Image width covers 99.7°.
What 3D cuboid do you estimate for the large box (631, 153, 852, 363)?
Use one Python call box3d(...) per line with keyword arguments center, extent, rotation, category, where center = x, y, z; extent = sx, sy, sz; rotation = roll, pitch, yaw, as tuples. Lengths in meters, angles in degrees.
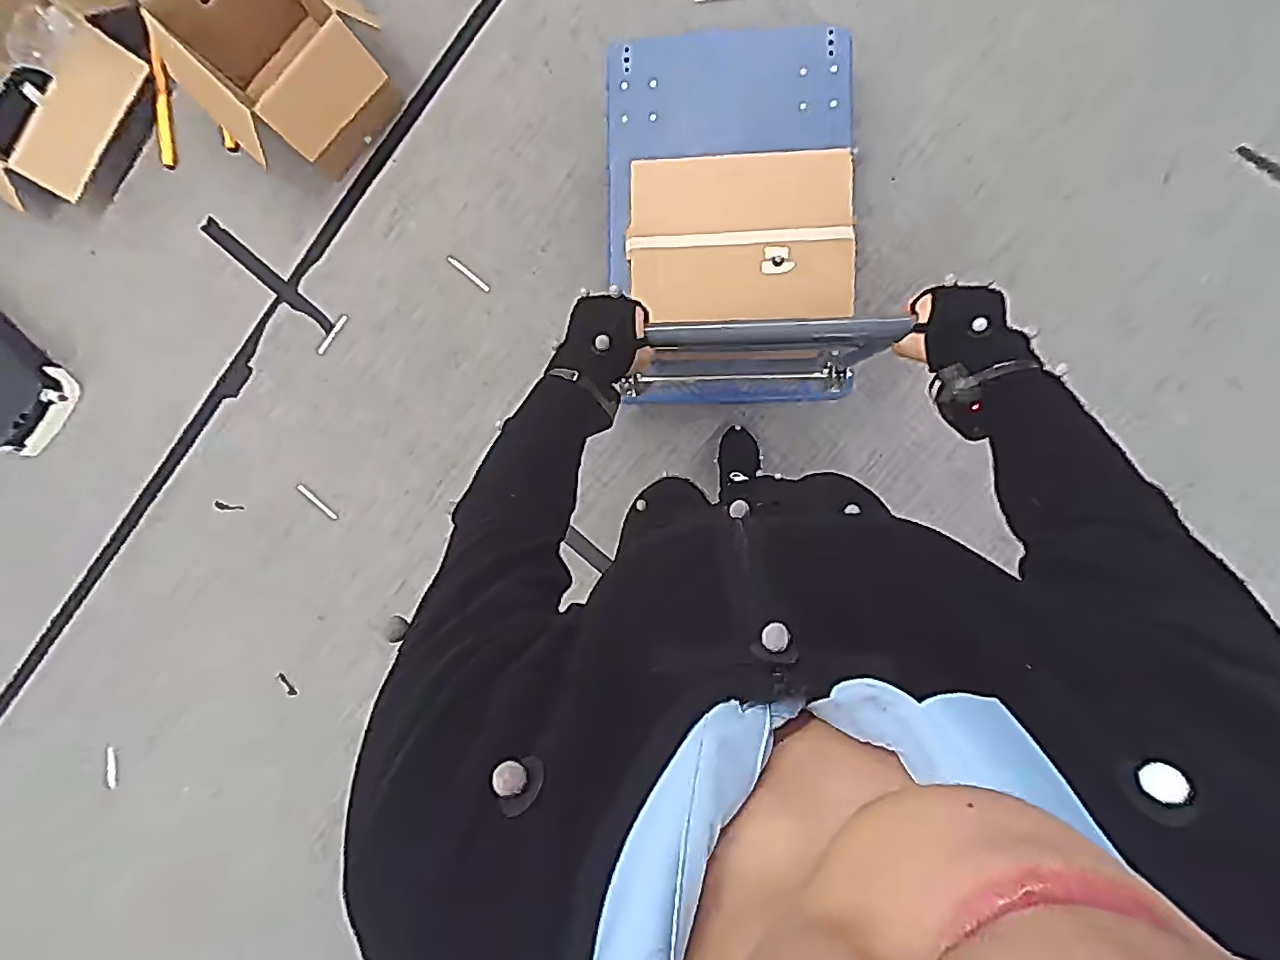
box3d(center=(0.194, -0.437, 1.143), extent=(0.408, 0.320, 0.320), rotation=(-1, 91, 4), category="large box")
